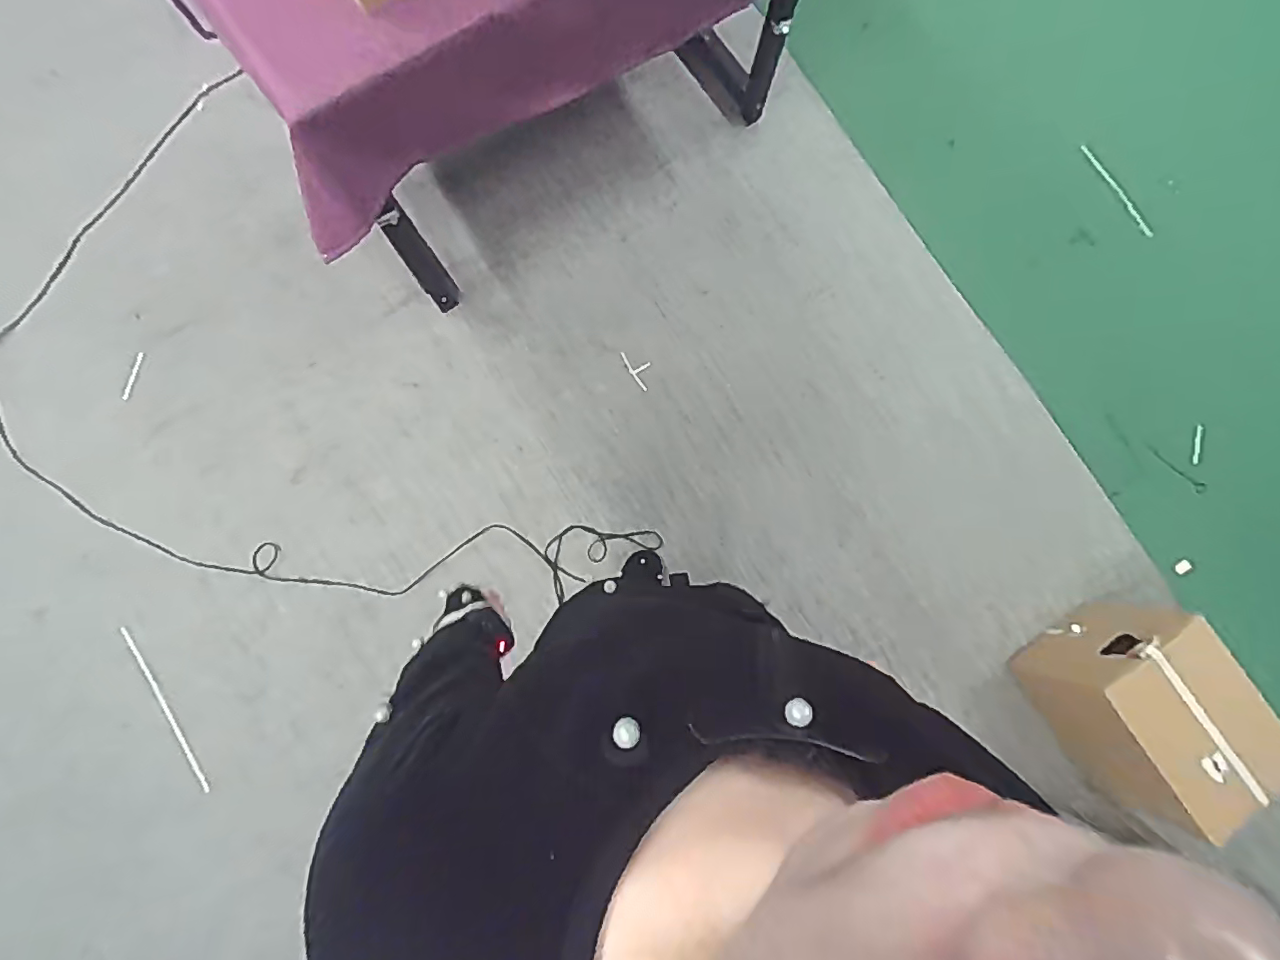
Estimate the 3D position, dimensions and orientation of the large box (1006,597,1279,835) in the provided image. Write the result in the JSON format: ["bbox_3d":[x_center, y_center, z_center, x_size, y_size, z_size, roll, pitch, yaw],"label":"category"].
[{"bbox_3d":[1.259,0.559,1.369,0.320,0.320,0.408,-33,86,-7],"label":"large box"}]
